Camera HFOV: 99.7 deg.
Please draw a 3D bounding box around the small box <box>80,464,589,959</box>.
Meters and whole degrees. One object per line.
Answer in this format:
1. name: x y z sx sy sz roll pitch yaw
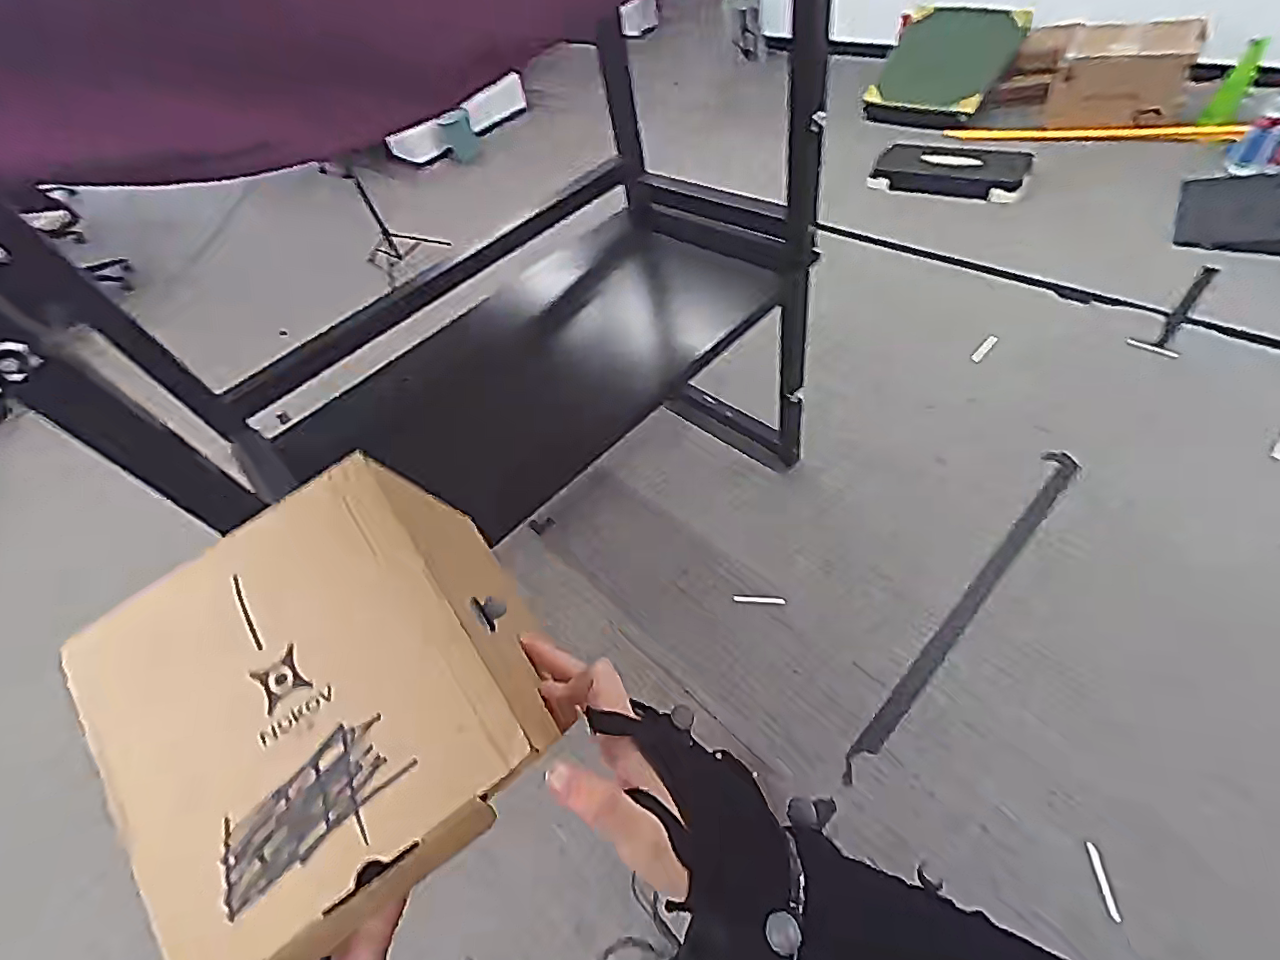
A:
1. small box: -0.147 0.124 0.322 0.168 0.176 0.179 -35 74 -9
